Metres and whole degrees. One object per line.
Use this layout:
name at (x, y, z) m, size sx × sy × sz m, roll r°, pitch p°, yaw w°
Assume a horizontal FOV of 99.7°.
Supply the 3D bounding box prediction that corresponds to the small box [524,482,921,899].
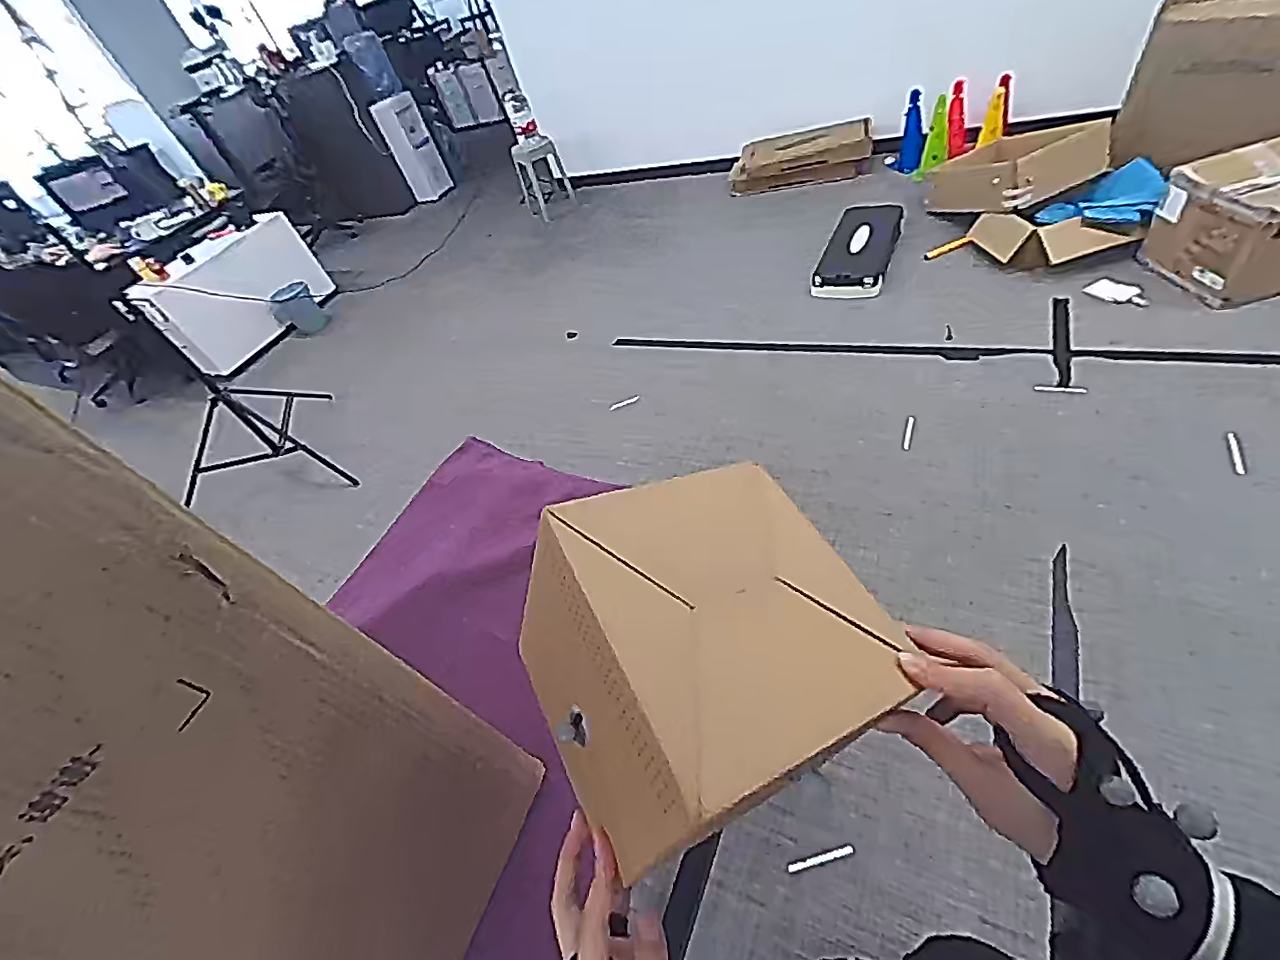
small box at (0.037, 0.124, 0.359) m, size 0.168 × 0.176 × 0.179 m, roll -12°, pitch 50°, yaw -29°
